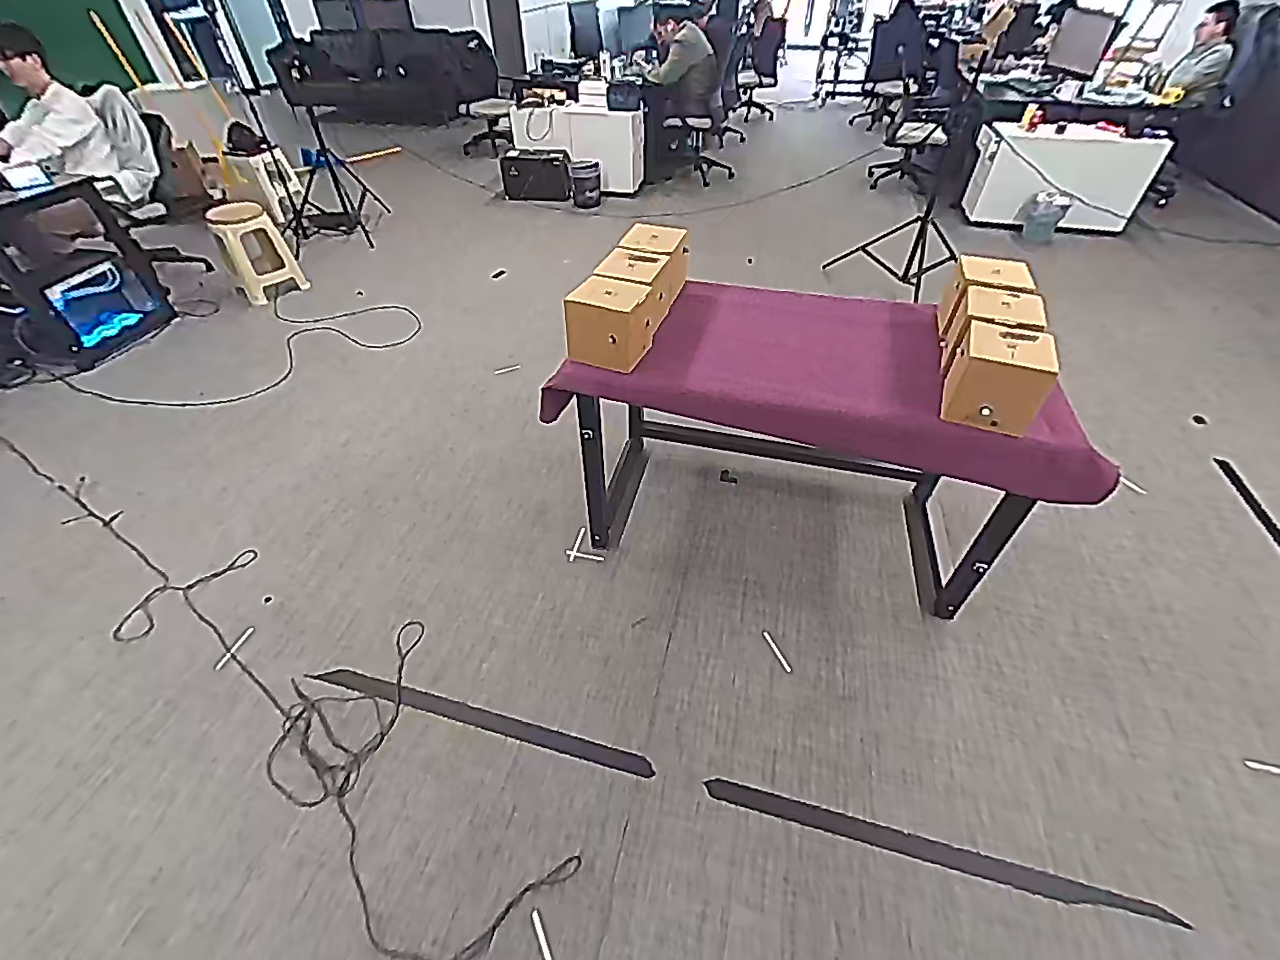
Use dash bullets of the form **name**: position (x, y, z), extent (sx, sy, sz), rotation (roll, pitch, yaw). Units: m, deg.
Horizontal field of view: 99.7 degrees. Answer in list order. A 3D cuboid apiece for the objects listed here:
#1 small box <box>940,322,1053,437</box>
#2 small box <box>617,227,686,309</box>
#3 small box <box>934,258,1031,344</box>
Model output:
- **small box**: position (0.795, -0.227, 1.215), extent (0.168, 0.176, 0.179), rotation (17, 51, 21)
- **small box**: position (0.035, -0.645, 1.644), extent (0.168, 0.176, 0.179), rotation (13, 47, 13)
- **small box**: position (0.923, -0.480, 1.477), extent (0.168, 0.176, 0.179), rotation (14, 45, 13)
